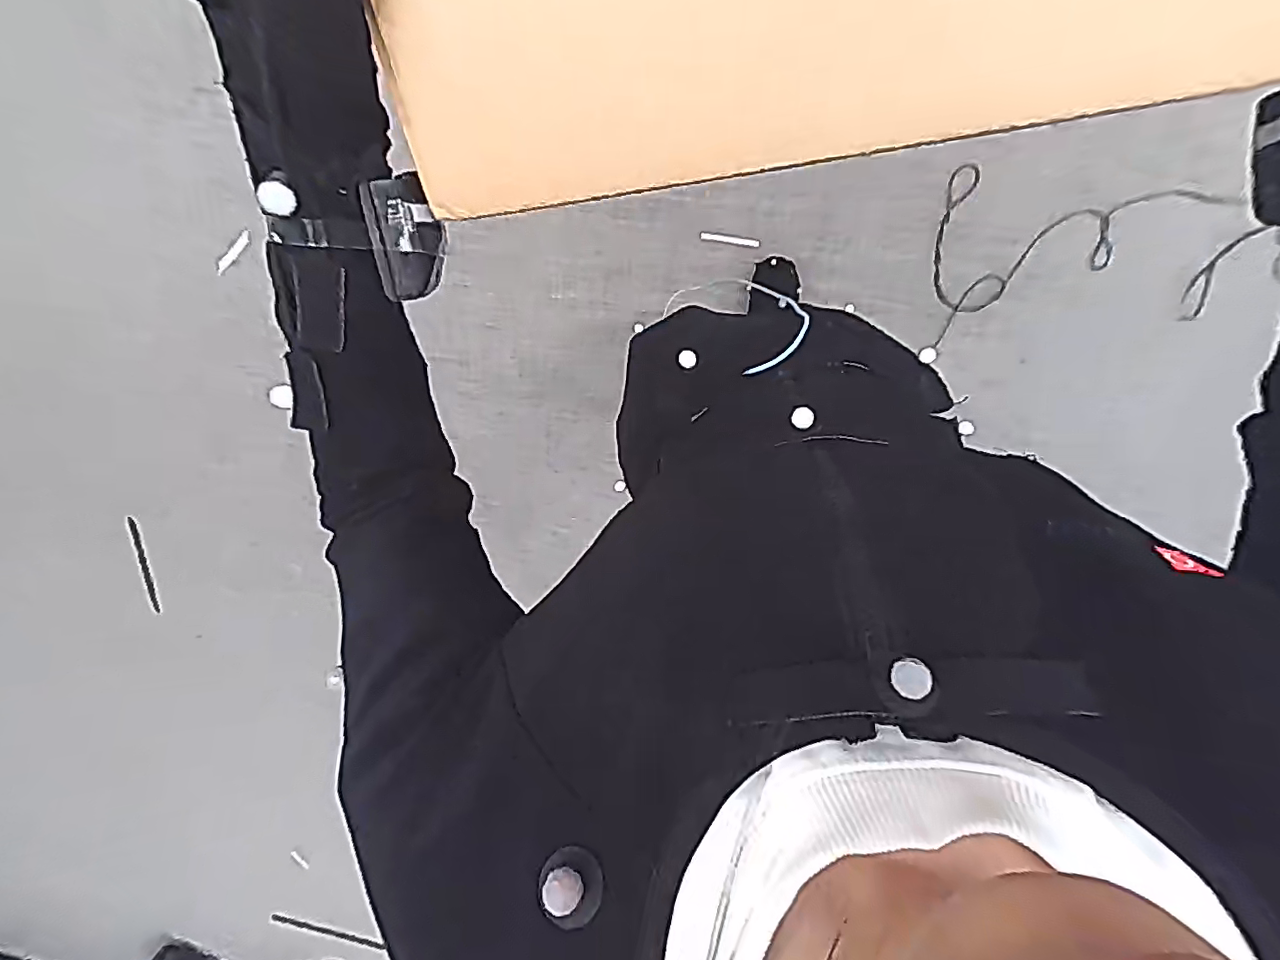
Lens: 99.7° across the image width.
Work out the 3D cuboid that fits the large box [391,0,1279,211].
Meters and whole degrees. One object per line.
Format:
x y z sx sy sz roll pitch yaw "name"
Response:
0.078 -0.375 0.316 0.408 0.320 0.320 -5 122 9 "large box"
